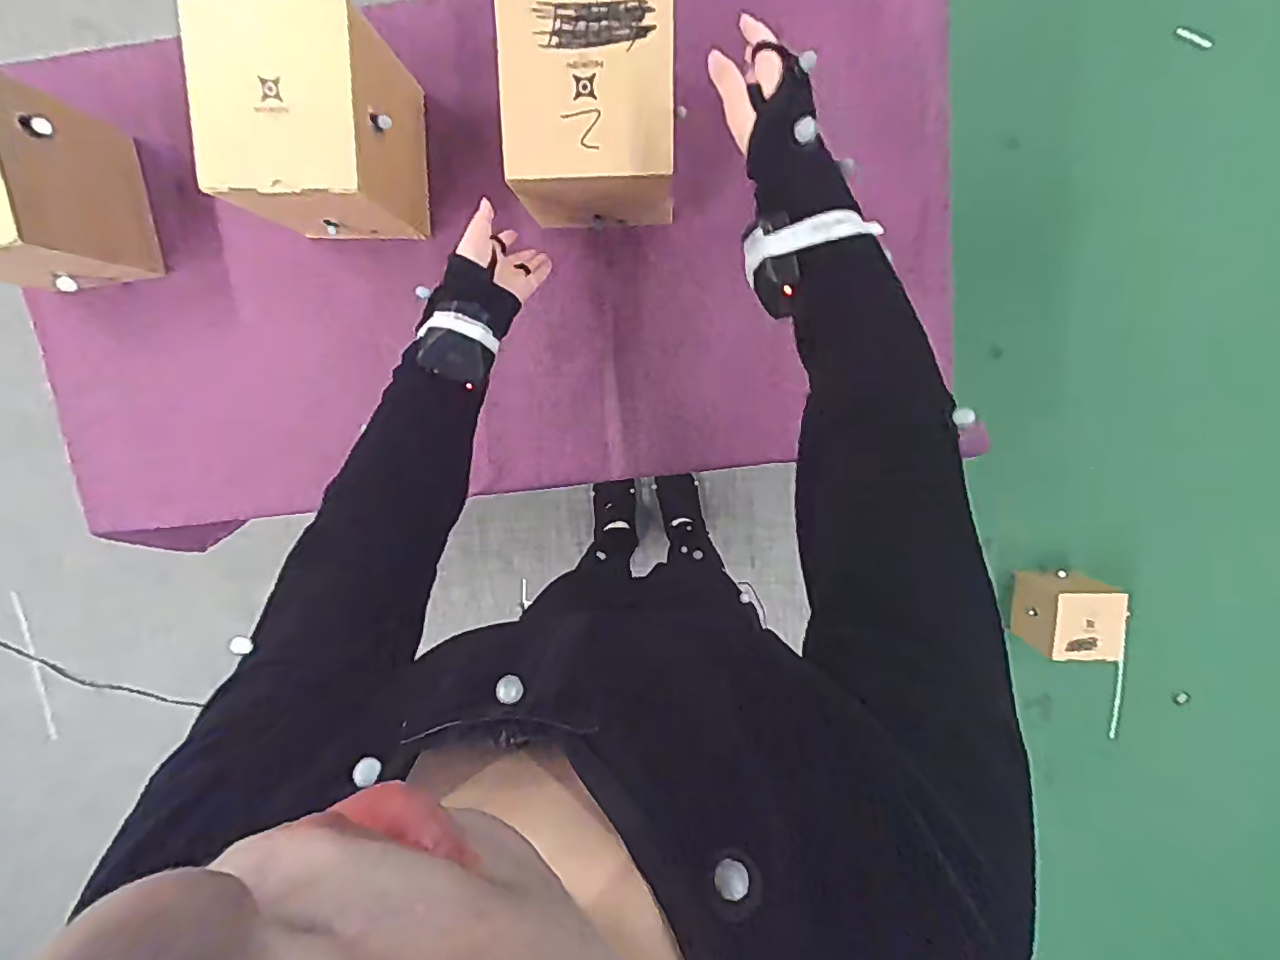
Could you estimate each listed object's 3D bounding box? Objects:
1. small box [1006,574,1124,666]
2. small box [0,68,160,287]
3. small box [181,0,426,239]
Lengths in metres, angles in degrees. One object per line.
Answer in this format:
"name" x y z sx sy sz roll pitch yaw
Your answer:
"small box" 1.082 0.356 1.394 0.168 0.176 0.179 0 101 3
"small box" -0.717 -0.335 0.623 0.168 0.176 0.179 -5 99 3
"small box" -0.353 -0.386 0.603 0.168 0.176 0.179 2 100 2
